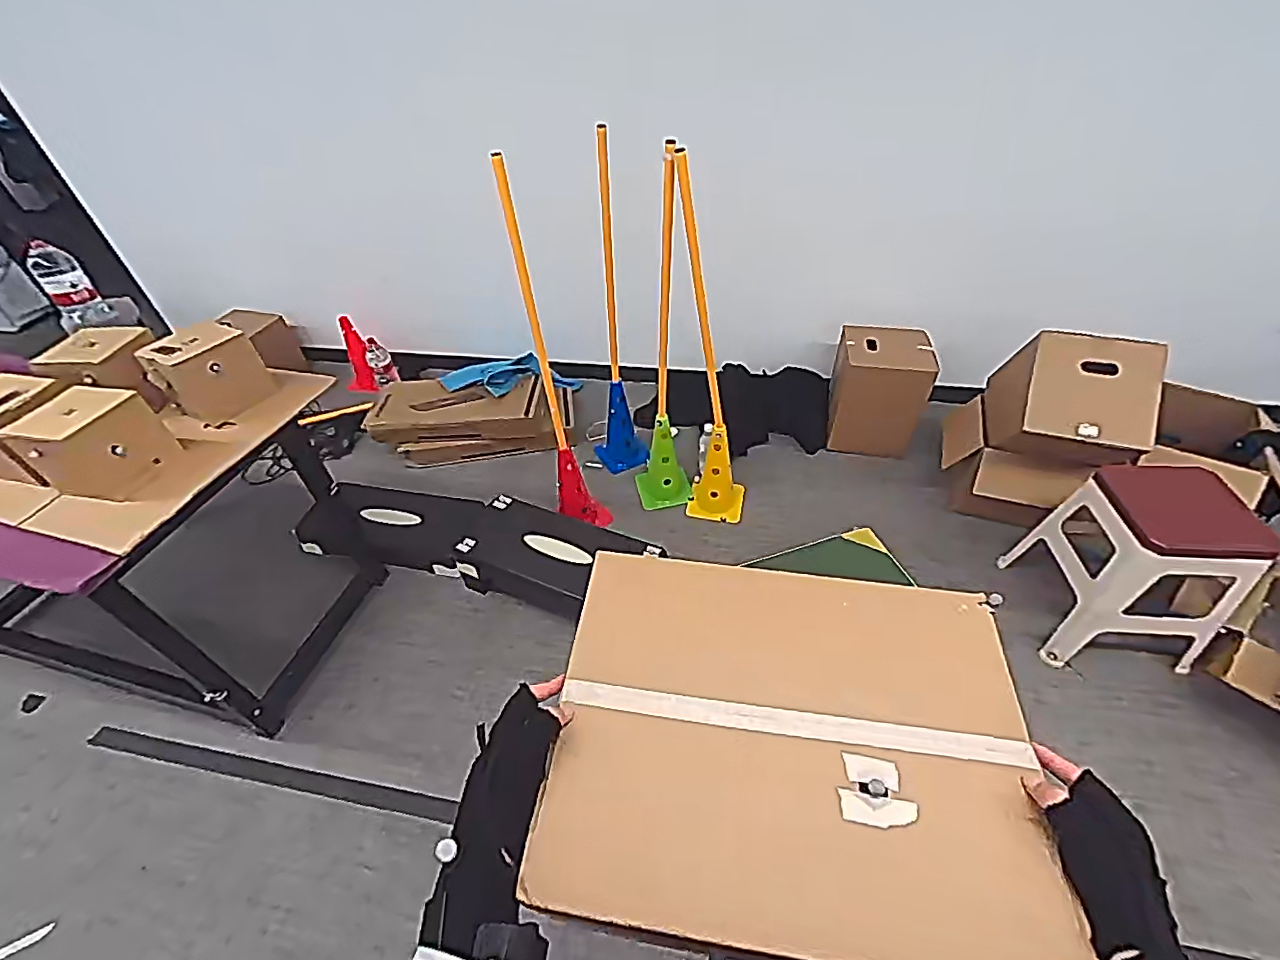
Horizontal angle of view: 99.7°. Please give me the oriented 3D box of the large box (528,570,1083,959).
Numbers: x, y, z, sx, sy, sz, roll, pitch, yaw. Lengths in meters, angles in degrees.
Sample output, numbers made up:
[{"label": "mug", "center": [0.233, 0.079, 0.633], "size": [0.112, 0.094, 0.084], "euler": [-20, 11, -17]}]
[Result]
[{"label": "large box", "center": [0.132, 0.328, 0.589], "size": [0.408, 0.320, 0.320], "euler": [6, 49, 7]}]
